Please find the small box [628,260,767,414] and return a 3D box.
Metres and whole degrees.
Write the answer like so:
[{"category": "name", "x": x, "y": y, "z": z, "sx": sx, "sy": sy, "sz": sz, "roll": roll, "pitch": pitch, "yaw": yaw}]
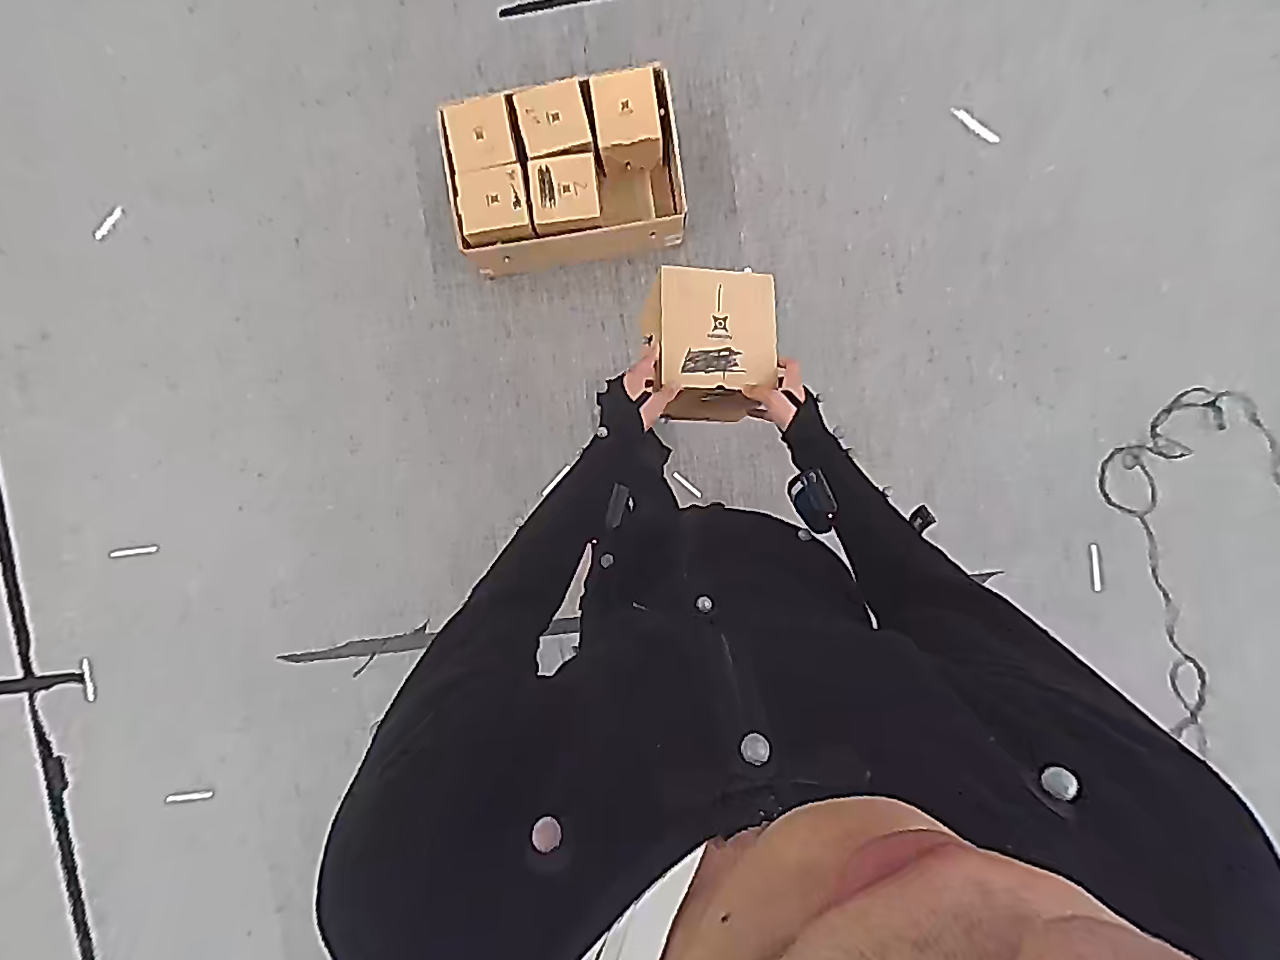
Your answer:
[{"category": "small box", "x": 0.077, "y": -0.198, "z": 0.798, "sx": 0.168, "sy": 0.176, "sz": 0.179, "roll": 0, "pitch": 84, "yaw": -11}]
